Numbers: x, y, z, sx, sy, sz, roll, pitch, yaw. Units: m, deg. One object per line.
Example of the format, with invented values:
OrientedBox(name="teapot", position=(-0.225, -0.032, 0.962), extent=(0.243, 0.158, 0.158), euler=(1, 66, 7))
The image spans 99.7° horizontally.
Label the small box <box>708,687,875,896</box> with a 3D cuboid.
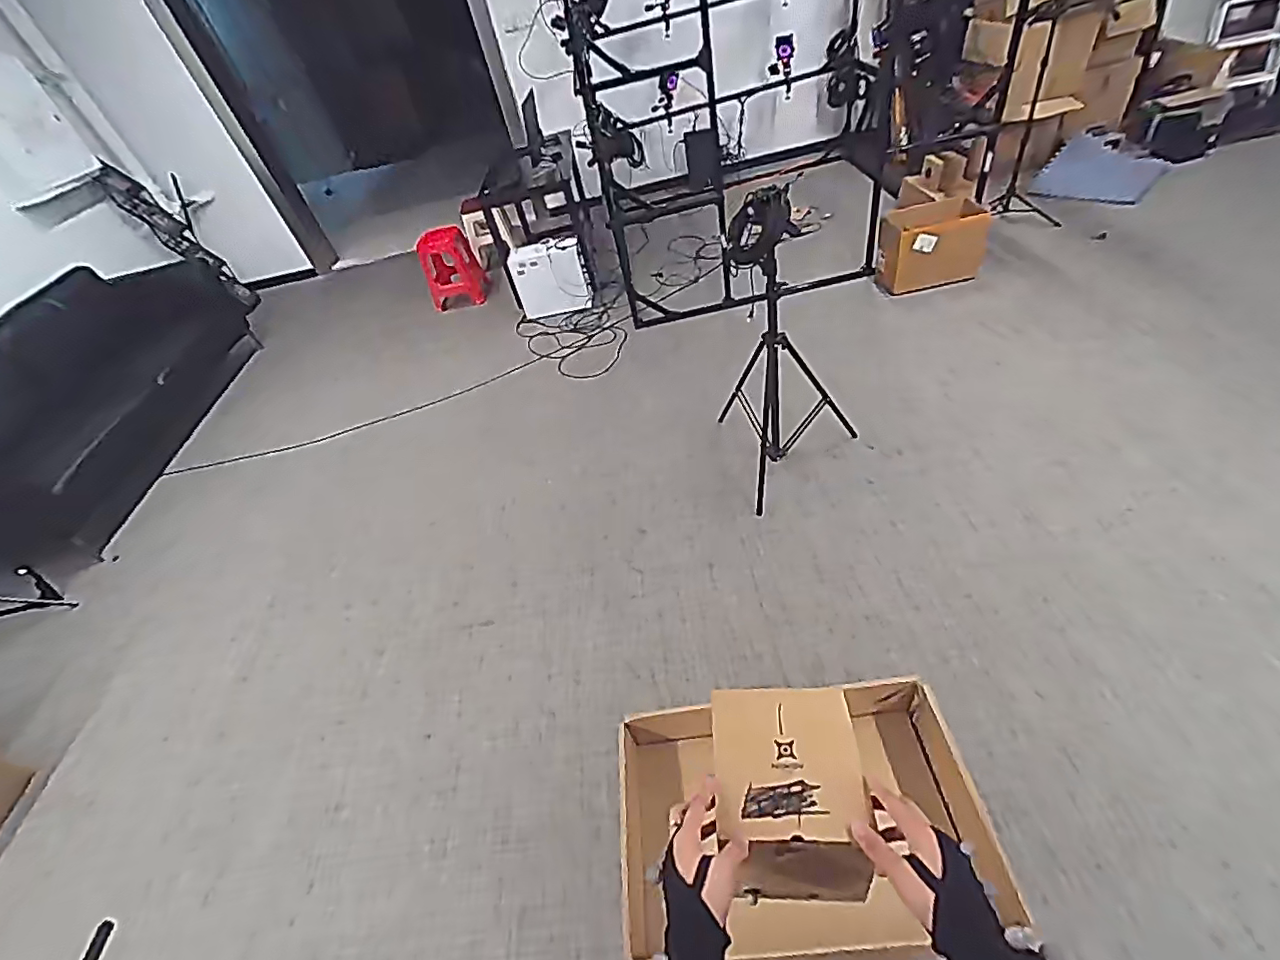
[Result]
OrientedBox(name="small box", position=(0.174, 0.380, 0.661), extent=(0.168, 0.176, 0.179), euler=(-5, 36, 8))
